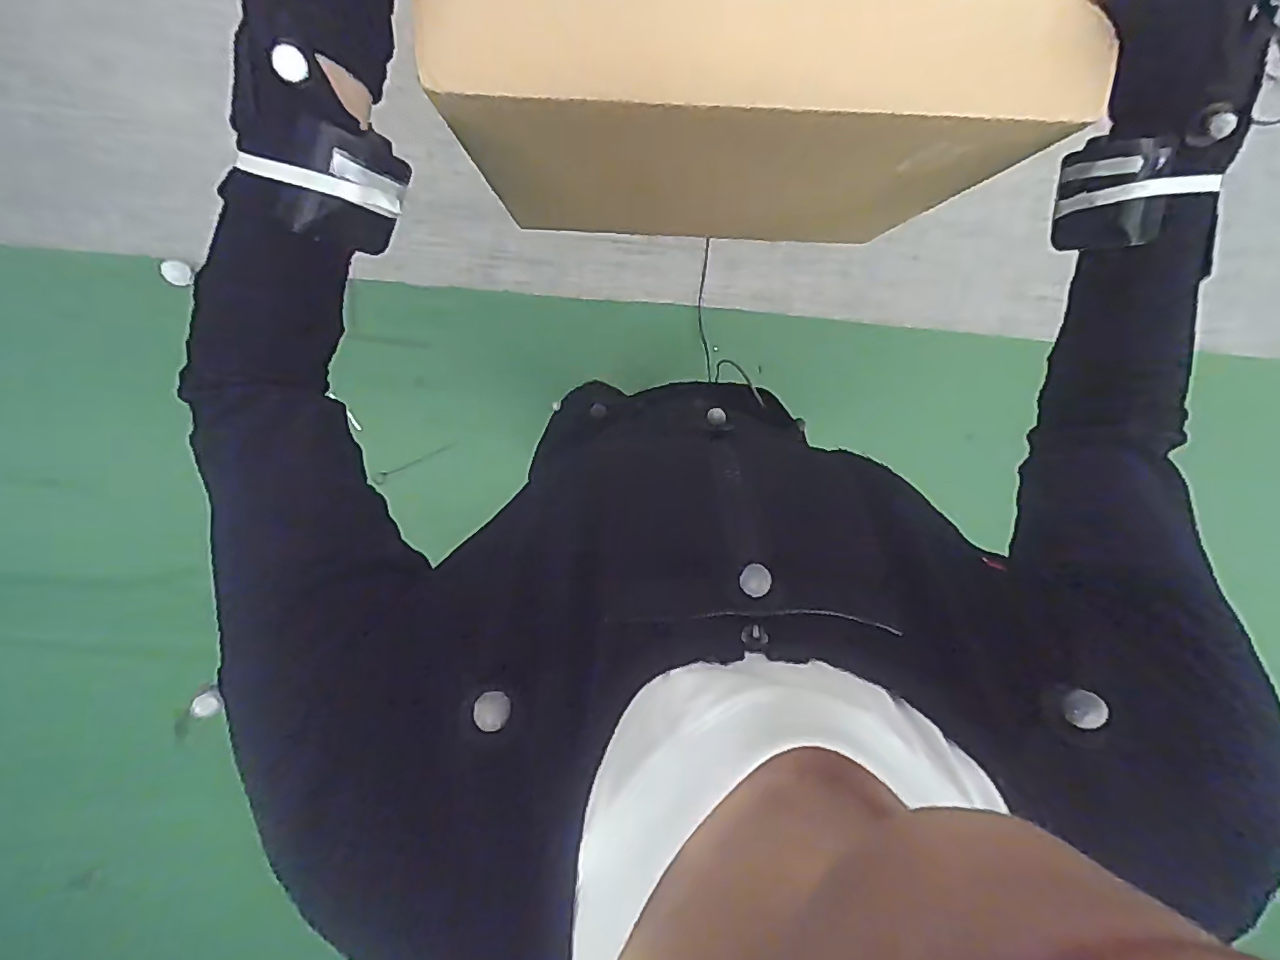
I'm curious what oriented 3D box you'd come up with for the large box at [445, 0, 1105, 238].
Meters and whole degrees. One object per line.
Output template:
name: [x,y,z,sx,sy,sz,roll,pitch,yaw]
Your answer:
large box: [0.075,-0.402,0.448,0.408,0.320,0.320,0,101,-4]
